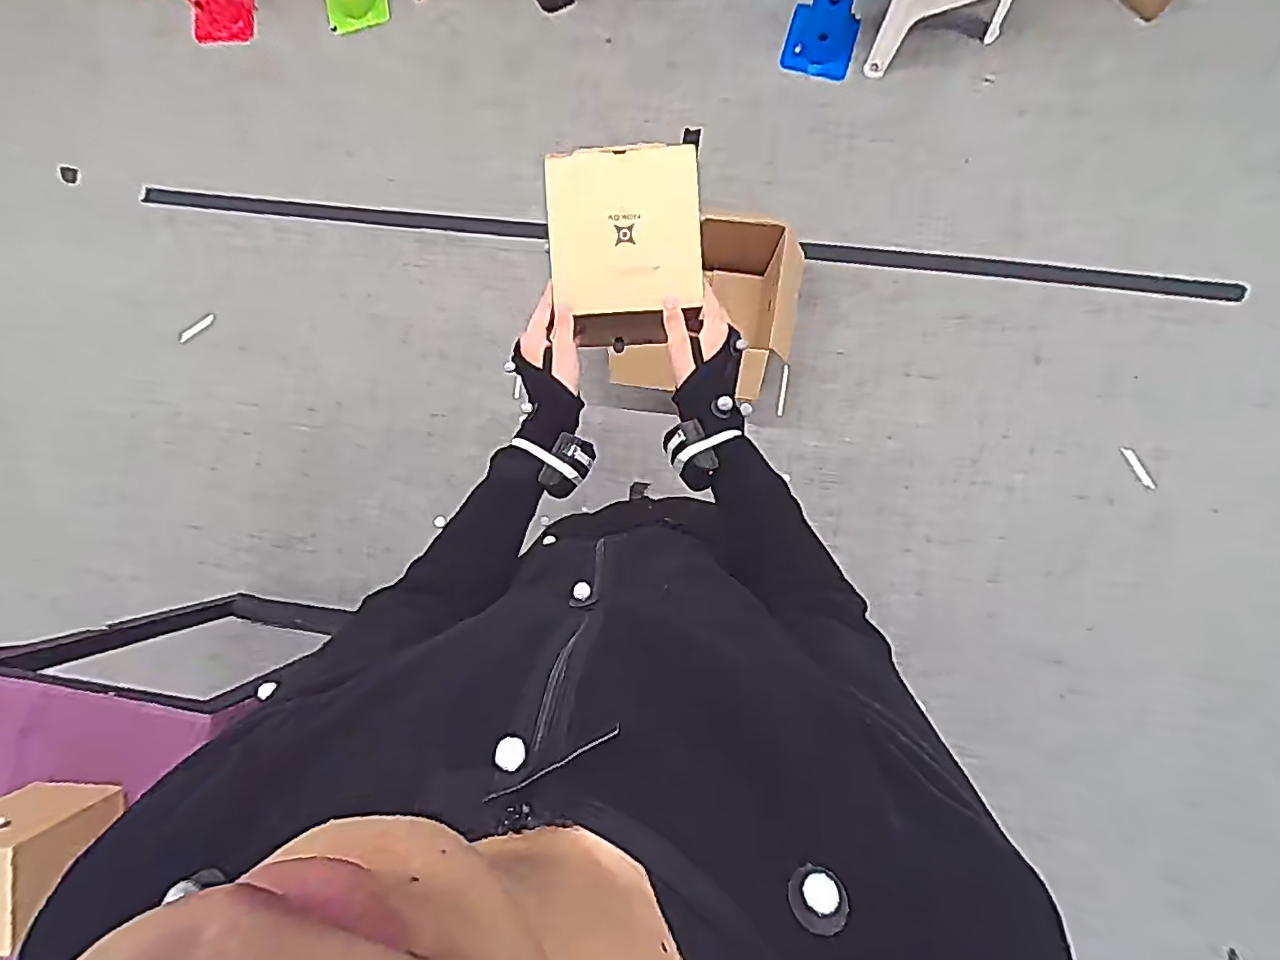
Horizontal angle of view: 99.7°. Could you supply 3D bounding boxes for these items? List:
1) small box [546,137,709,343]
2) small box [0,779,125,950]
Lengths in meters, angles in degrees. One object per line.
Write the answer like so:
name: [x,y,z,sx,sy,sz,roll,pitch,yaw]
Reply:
small box: [-0.012,-0.276,0.658,0.168,0.176,0.179,-5,95,2]
small box: [-1.016,0.626,0.901,0.179,0.176,0.168,1,90,5]
